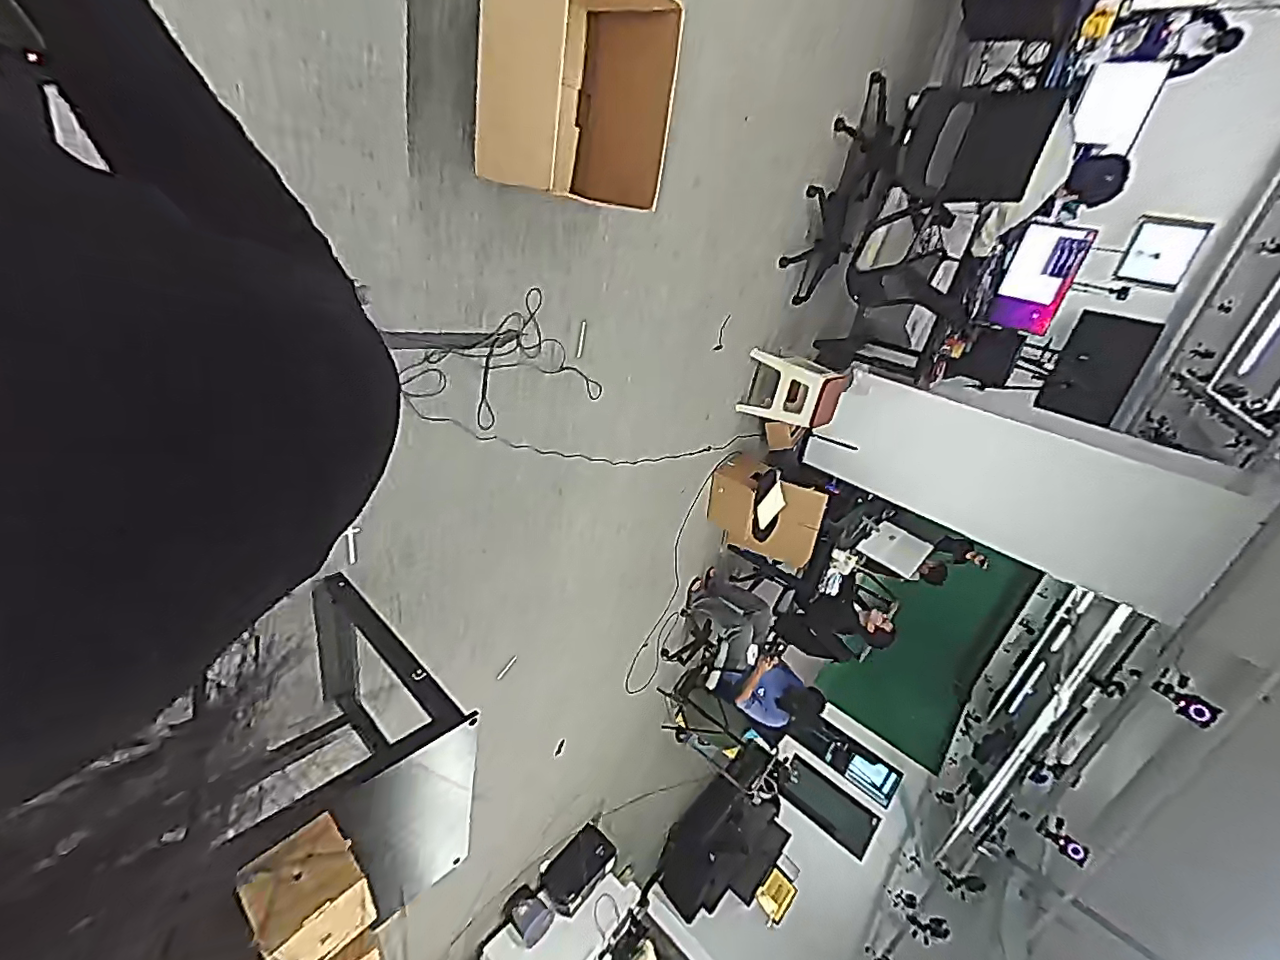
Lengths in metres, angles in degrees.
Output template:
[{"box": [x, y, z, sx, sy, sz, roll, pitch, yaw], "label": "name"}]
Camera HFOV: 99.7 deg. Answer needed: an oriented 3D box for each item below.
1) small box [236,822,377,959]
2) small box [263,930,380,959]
[{"box": [-0.628, 0.797, 1.023, 0.168, 0.176, 0.179, -25, 133, -43], "label": "small box"}, {"box": [-0.673, 1.034, 1.146, 0.168, 0.176, 0.179, -17, 127, -48], "label": "small box"}]
